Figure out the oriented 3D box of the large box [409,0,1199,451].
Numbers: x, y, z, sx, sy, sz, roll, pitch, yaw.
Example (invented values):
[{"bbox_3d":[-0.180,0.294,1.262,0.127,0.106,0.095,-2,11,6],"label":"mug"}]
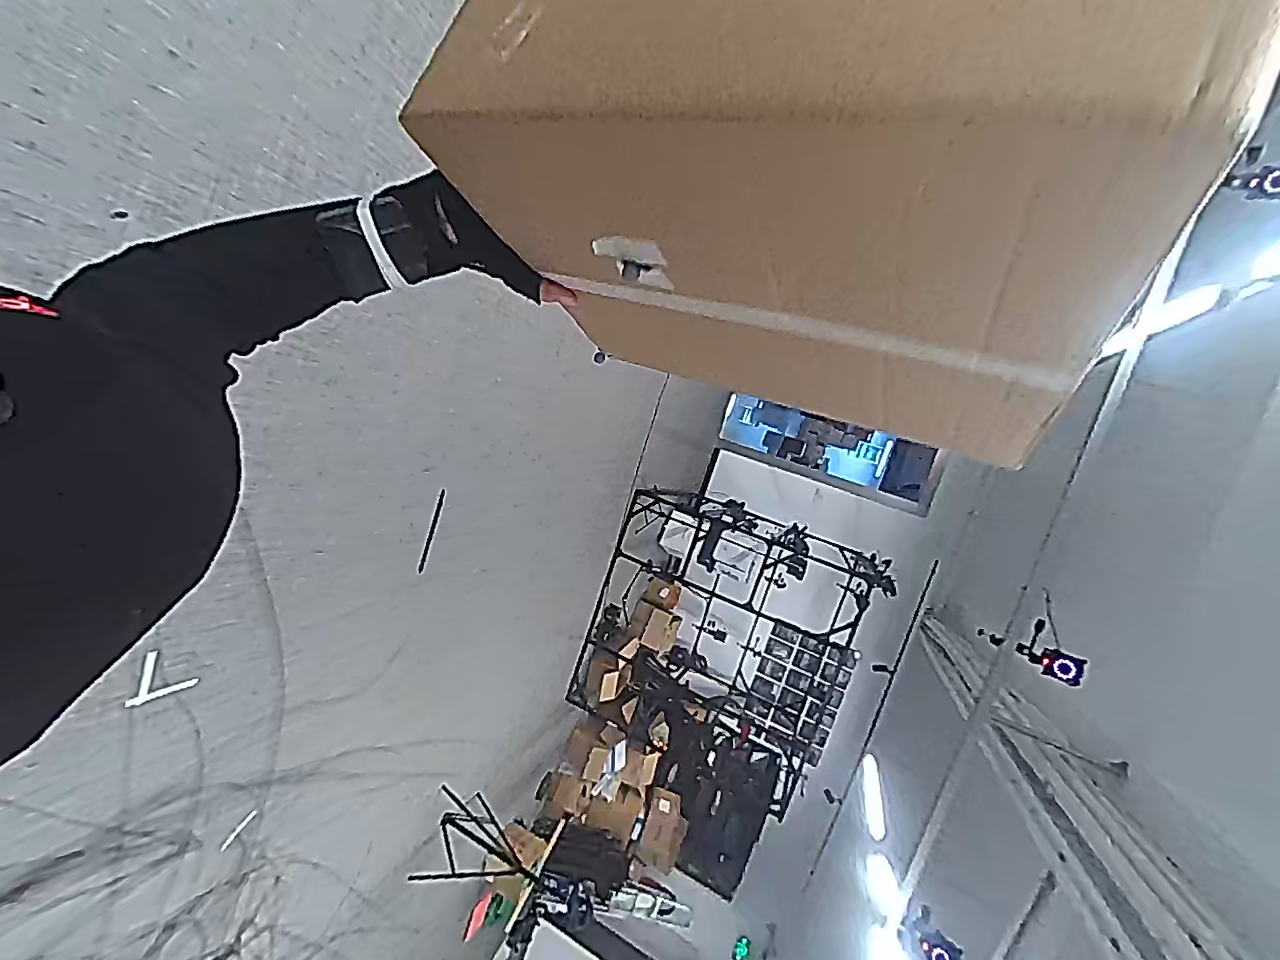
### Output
[{"bbox_3d":[0.126,-0.266,0.412,0.320,0.408,0.320,-63,152,-6],"label":"large box"}]
